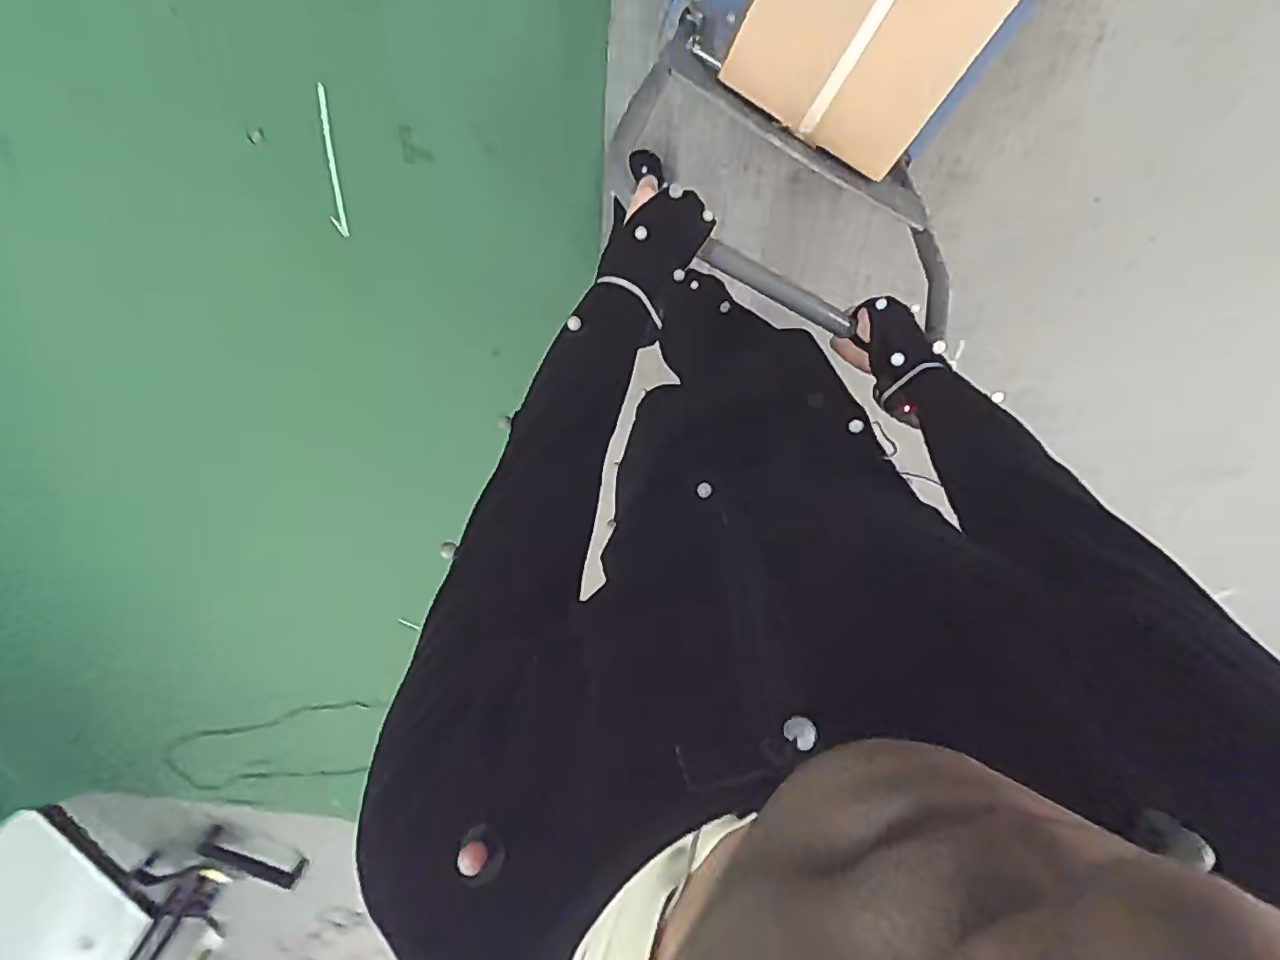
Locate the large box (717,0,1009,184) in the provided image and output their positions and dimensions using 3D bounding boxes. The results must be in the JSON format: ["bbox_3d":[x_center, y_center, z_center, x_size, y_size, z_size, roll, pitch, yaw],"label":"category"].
[{"bbox_3d":[0.361,-0.774,0.848,0.320,0.320,0.408,25,134,-12],"label":"large box"}]
